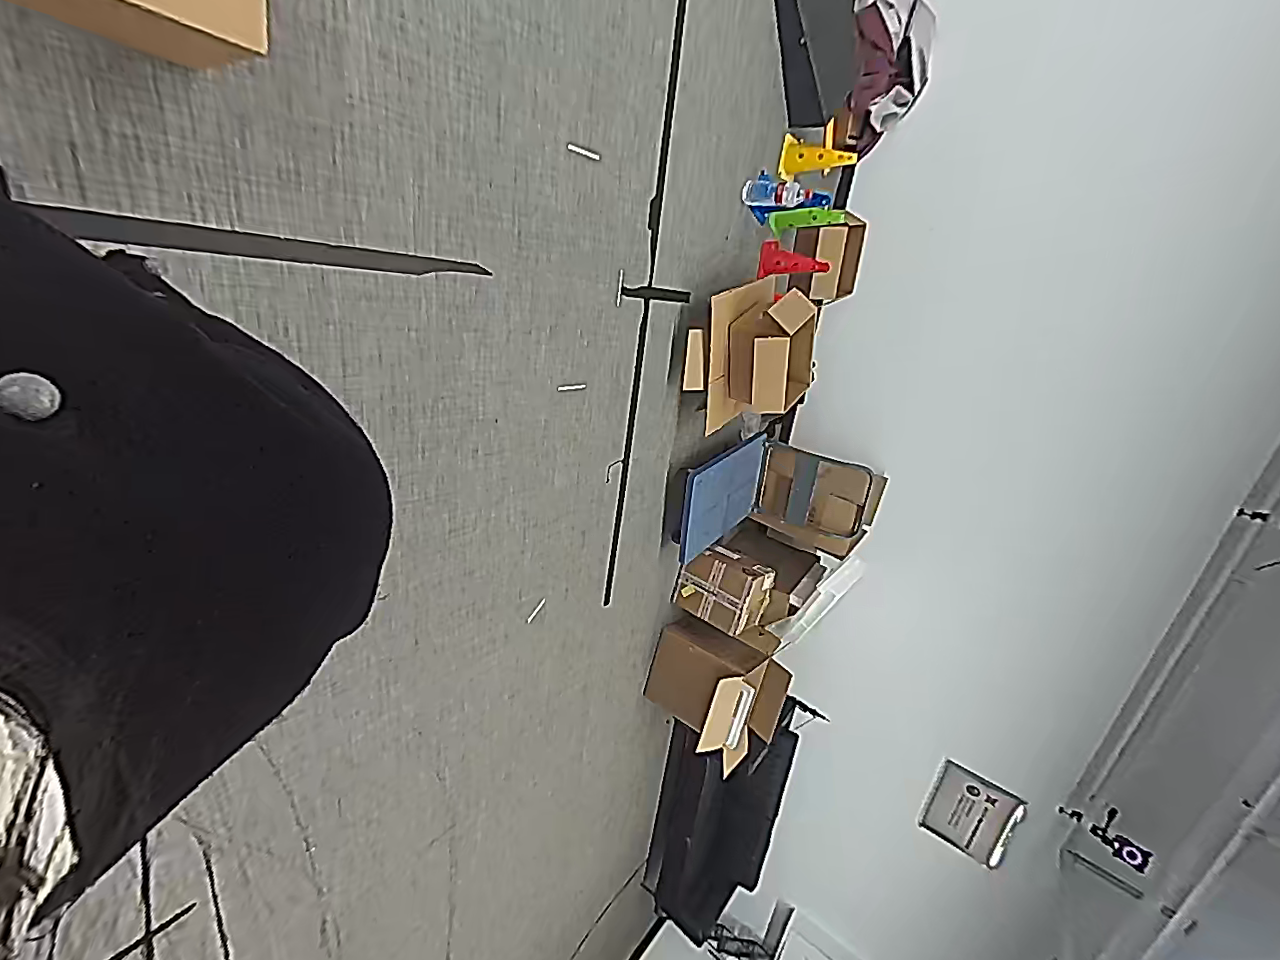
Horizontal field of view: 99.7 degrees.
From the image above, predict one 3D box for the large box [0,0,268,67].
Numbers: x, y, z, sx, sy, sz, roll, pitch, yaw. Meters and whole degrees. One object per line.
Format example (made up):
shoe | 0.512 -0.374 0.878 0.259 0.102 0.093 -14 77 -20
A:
large box | -0.817 -0.845 0.750 0.408 0.320 0.320 -17 122 -53
